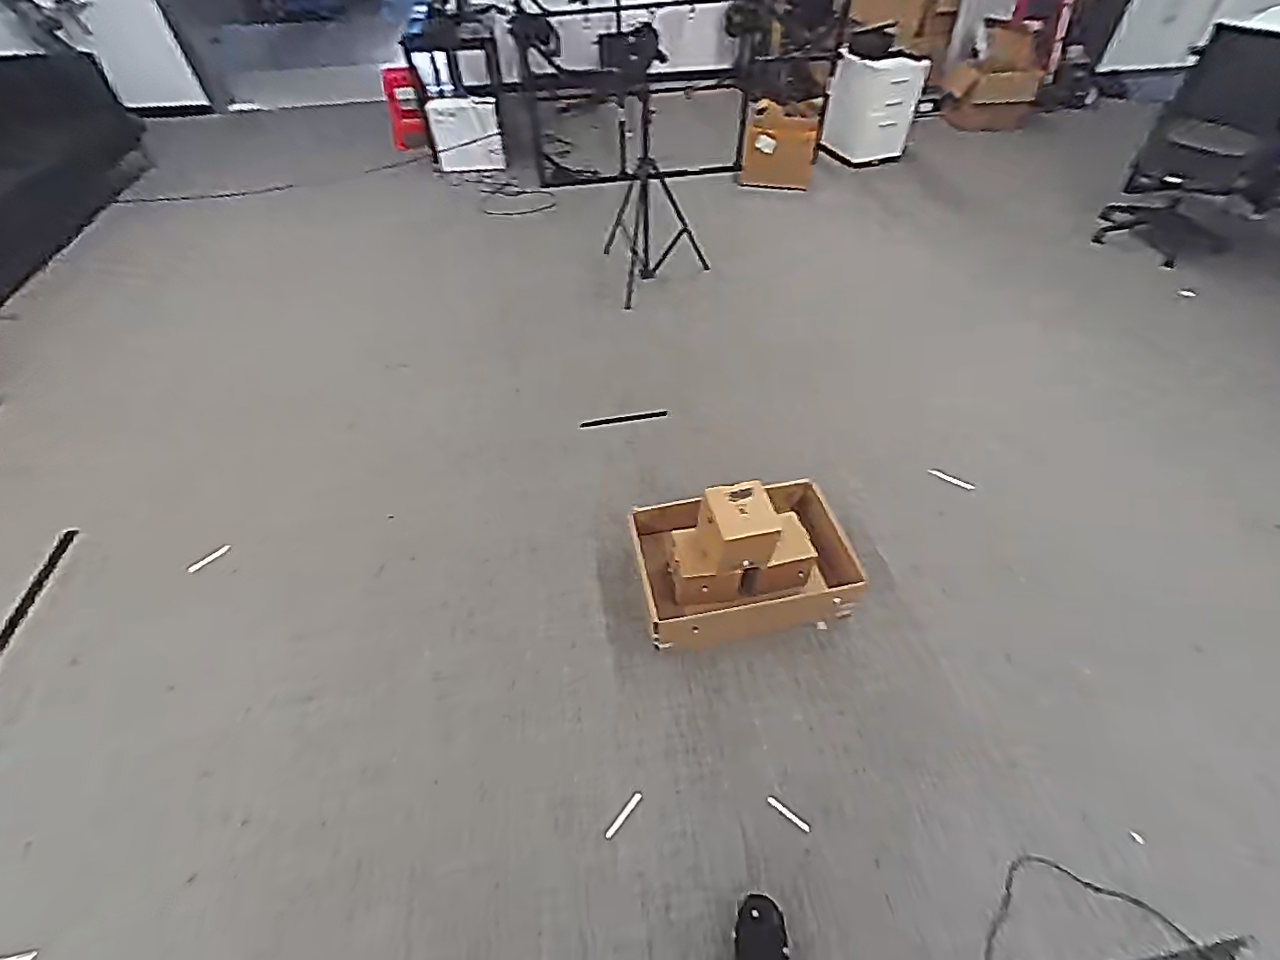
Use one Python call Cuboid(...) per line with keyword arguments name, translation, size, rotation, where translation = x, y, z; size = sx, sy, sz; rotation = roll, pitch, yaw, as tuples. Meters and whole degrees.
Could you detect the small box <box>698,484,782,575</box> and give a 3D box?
Cuboid(name="small box", translation=(0.269, 0.139, 1.506), size=(0.168, 0.176, 0.179), rotation=(-9, 50, -10))
